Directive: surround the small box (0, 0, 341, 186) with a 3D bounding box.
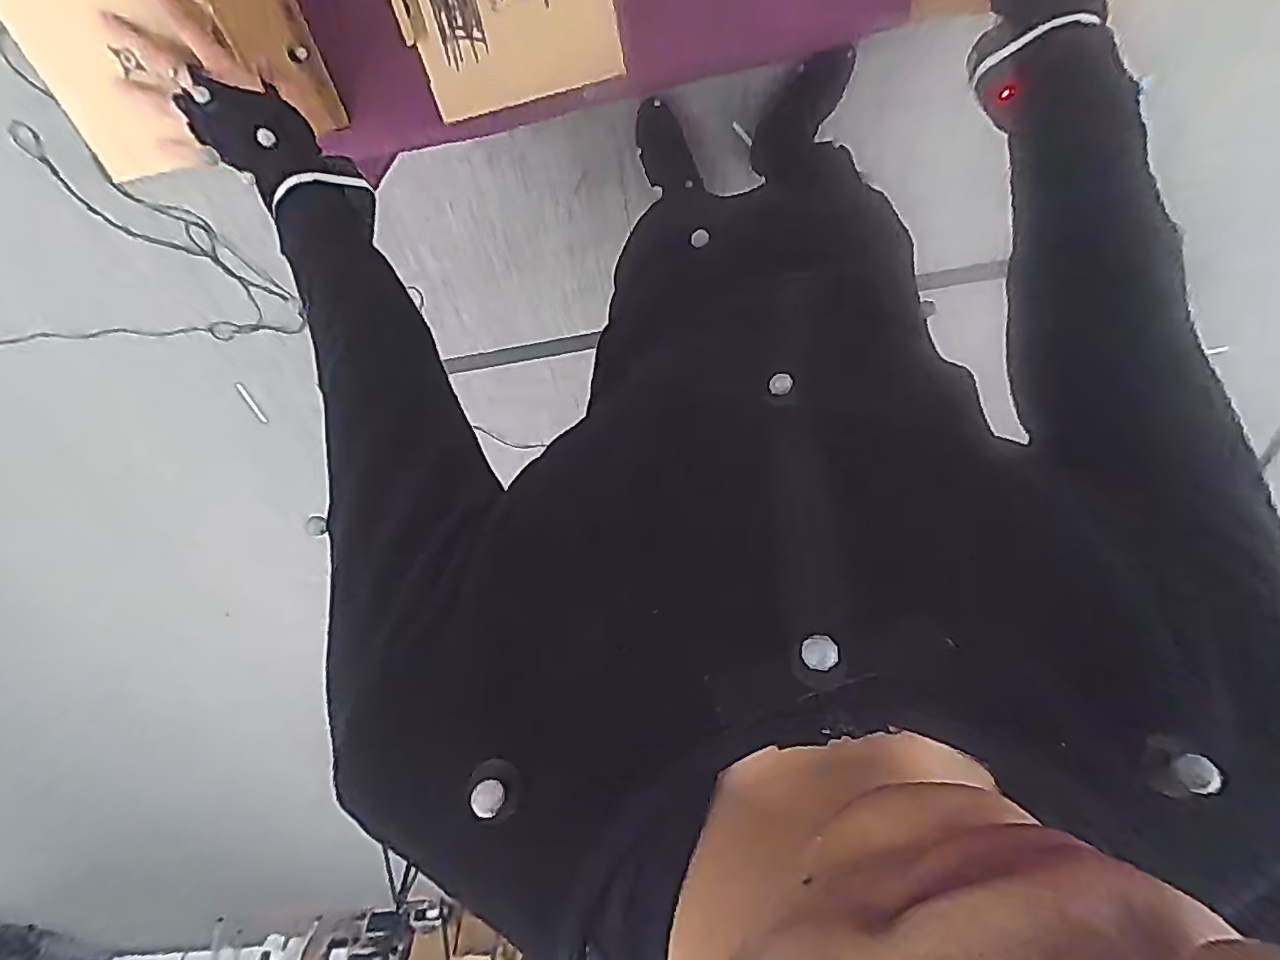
[{"bbox_3d":[-0.441,-0.408,0.532,0.179,0.176,0.168,-10,128,5],"label":"small box"}]
